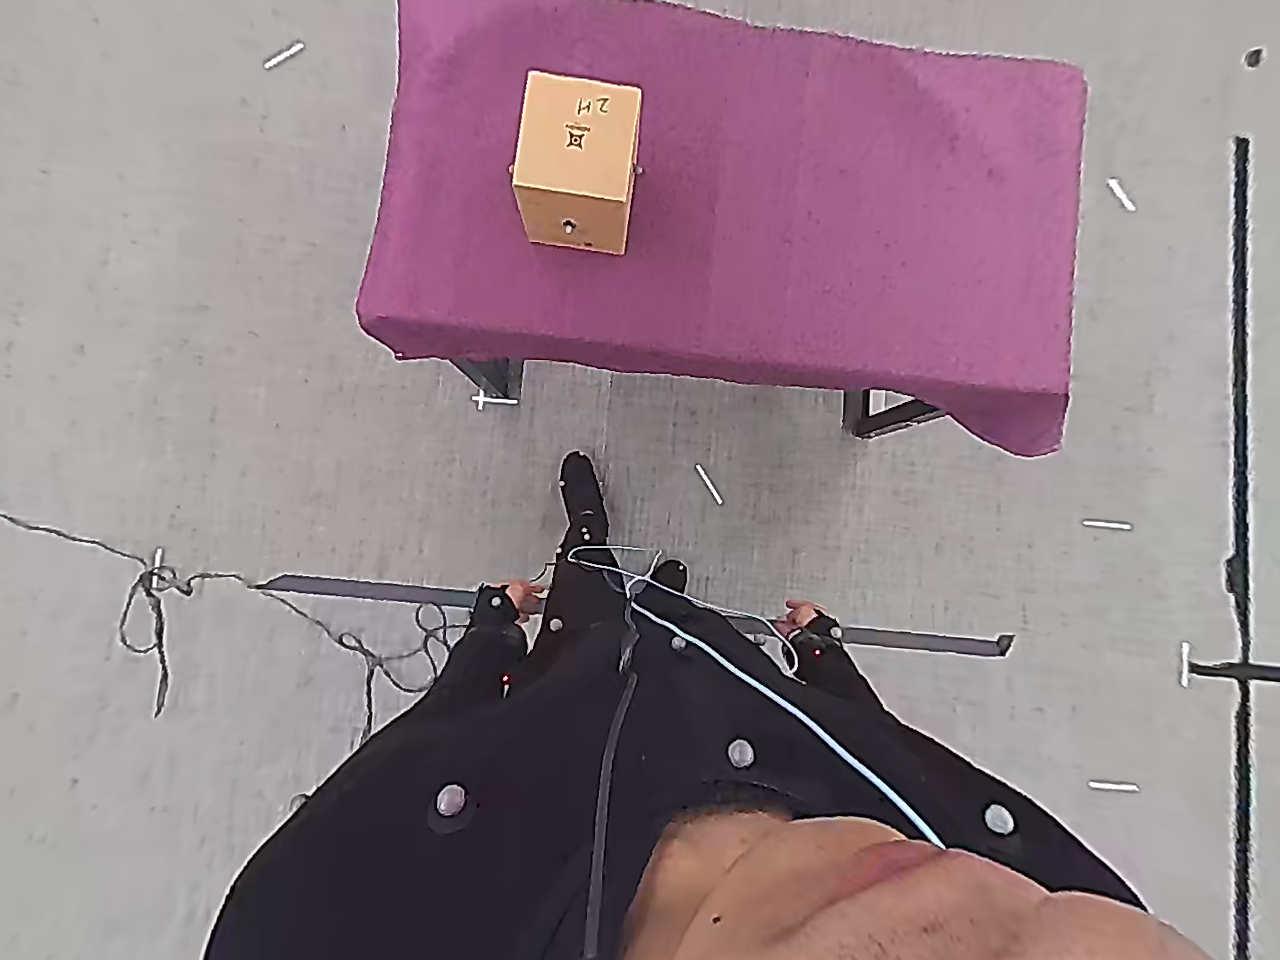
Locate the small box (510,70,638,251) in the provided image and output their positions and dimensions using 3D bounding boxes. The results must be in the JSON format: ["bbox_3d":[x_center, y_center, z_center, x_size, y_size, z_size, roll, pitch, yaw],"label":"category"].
[{"bbox_3d":[-0.098,-0.490,0.856,0.168,0.176,0.179,8,86,-3],"label":"small box"}]
